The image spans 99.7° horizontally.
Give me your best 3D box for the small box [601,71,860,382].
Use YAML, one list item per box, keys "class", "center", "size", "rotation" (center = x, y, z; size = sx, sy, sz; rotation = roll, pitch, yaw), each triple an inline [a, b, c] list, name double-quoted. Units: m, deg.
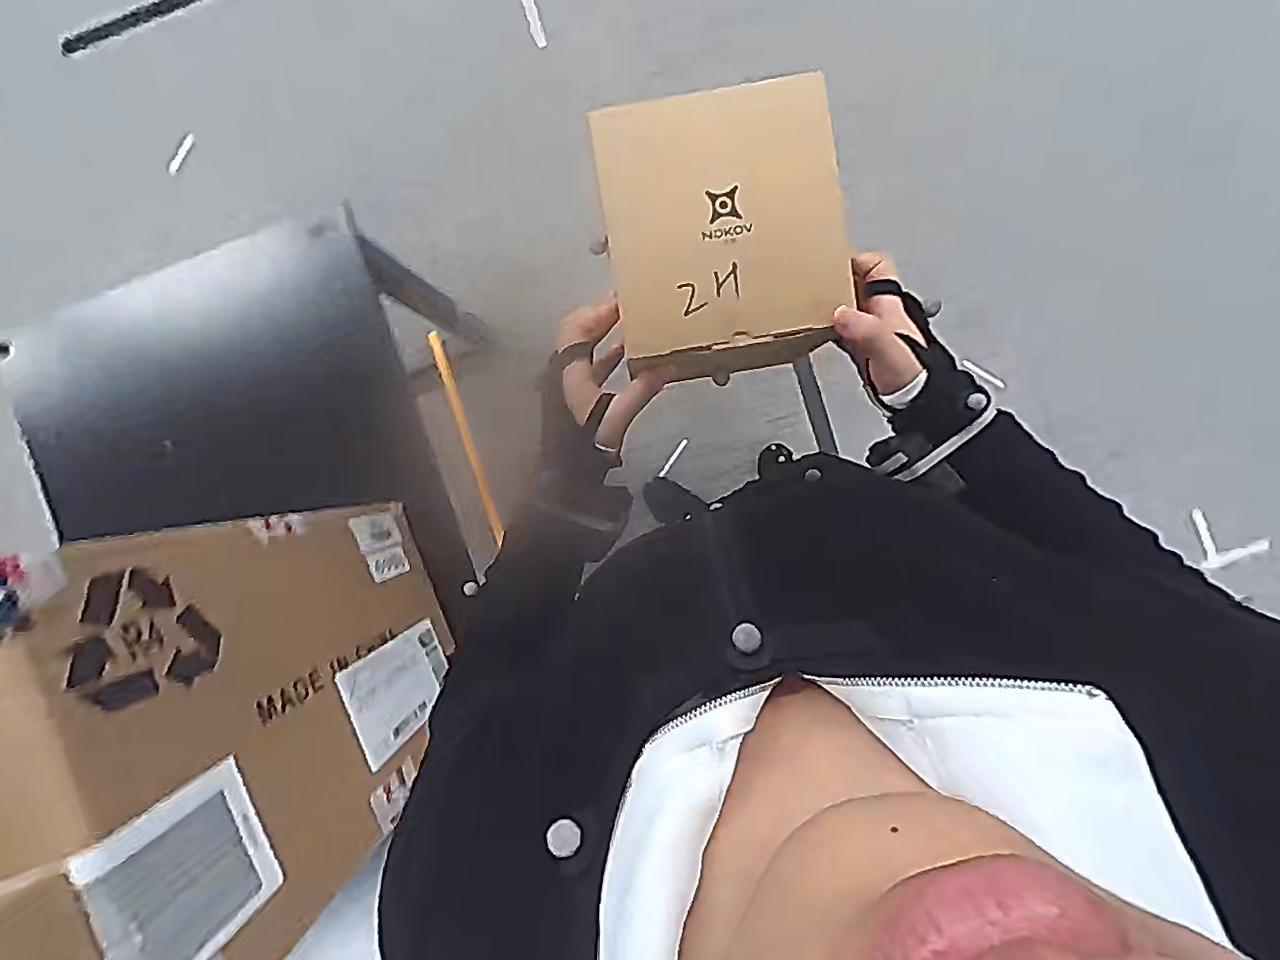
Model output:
- class: "small box"
  center: [0.064, -0.189, 0.456]
  size: [0.168, 0.176, 0.179]
  rotation: [-8, 93, 2]
